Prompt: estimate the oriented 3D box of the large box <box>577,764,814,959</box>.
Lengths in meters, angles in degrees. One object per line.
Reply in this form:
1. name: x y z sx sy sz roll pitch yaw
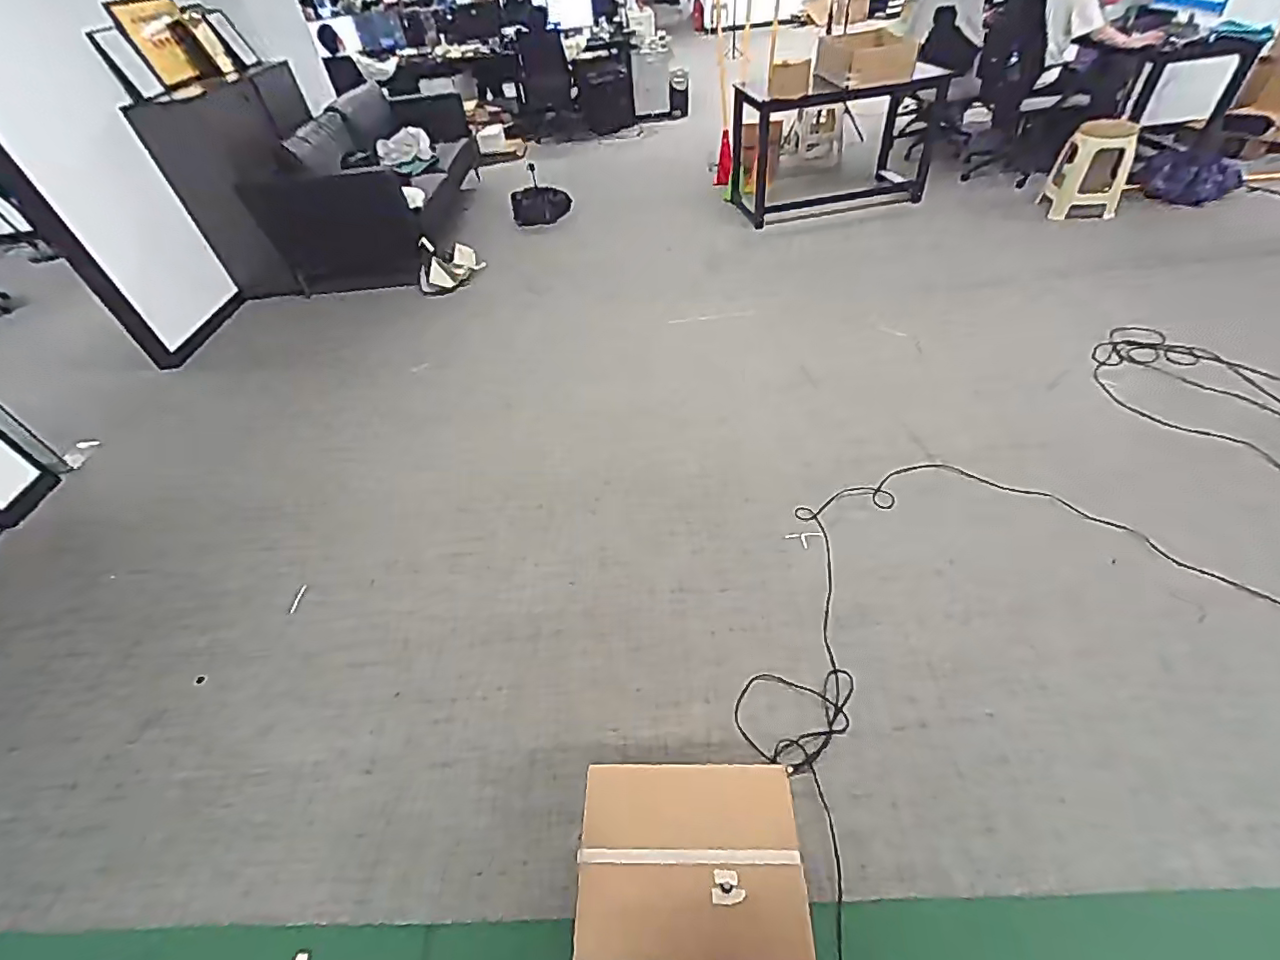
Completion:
1. large box: 0.101 0.797 1.101 0.408 0.320 0.320 -2 46 4
